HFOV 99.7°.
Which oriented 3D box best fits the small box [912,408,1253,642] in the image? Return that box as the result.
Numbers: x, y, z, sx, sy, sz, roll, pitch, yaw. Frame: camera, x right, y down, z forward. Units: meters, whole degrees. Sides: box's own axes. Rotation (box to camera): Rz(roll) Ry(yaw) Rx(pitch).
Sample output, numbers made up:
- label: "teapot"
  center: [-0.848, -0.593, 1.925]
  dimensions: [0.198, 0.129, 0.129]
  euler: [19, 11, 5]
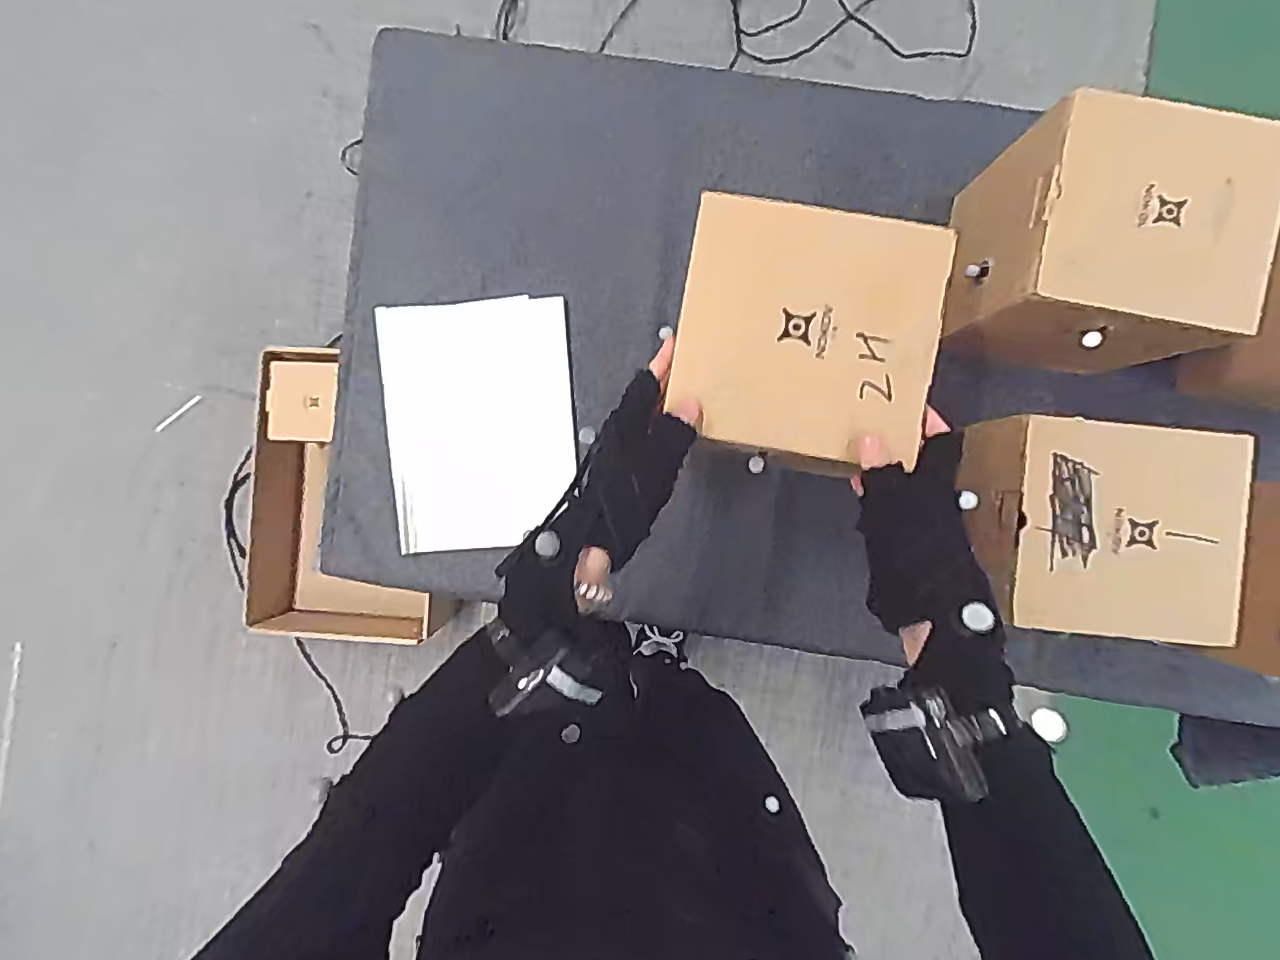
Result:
- label: "small box"
  center: [0.376, 0.036, 0.494]
  dimensions: [0.179, 0.176, 0.168]
  euler: [6, 89, 0]
